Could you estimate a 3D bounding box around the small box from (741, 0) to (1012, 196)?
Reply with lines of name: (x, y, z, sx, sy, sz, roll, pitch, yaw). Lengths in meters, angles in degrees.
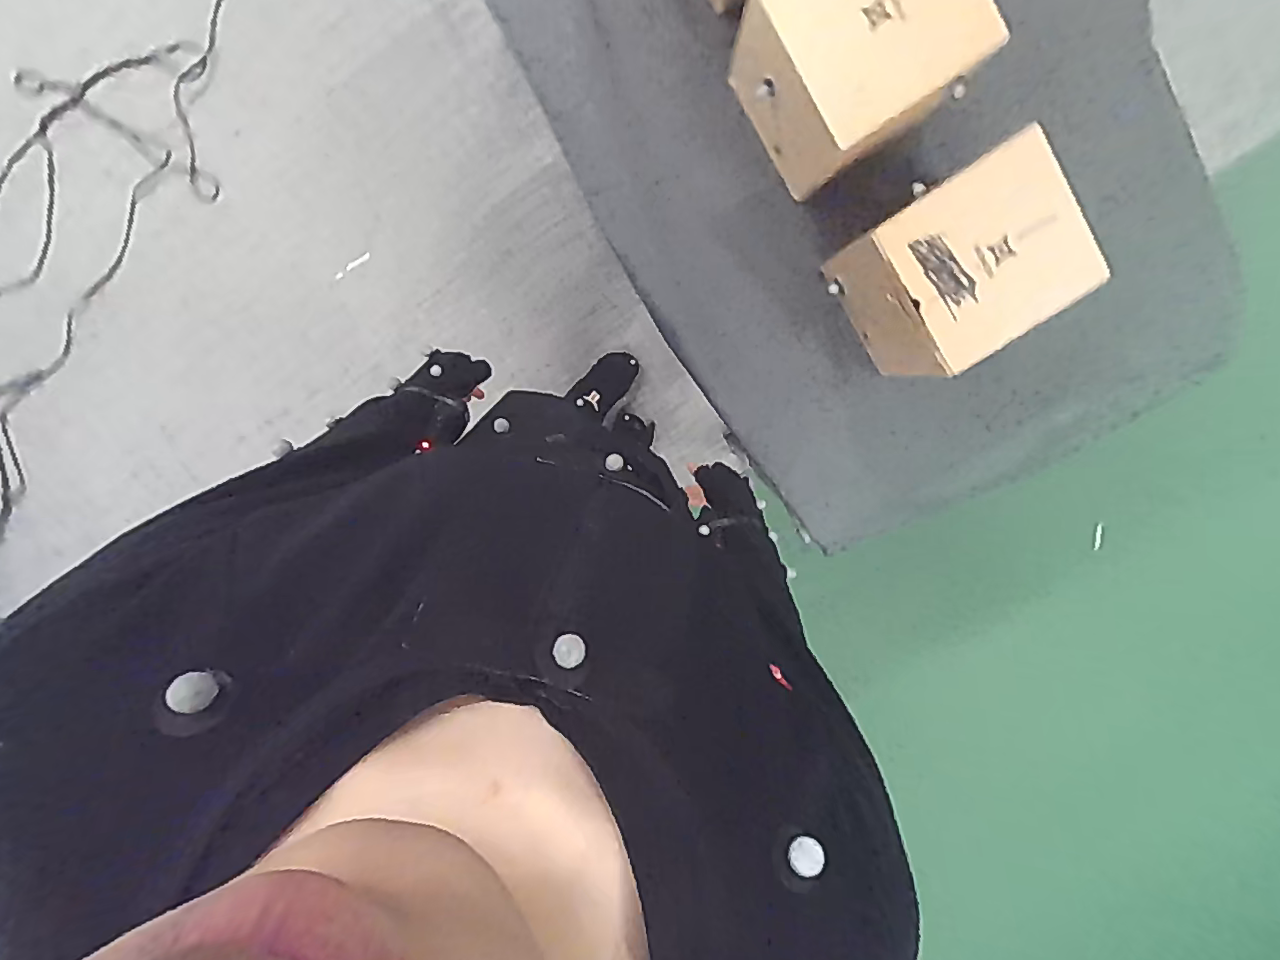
small box: (0.219, -0.432, 0.558, 0.179, 0.176, 0.168, -32, 99, 6)
